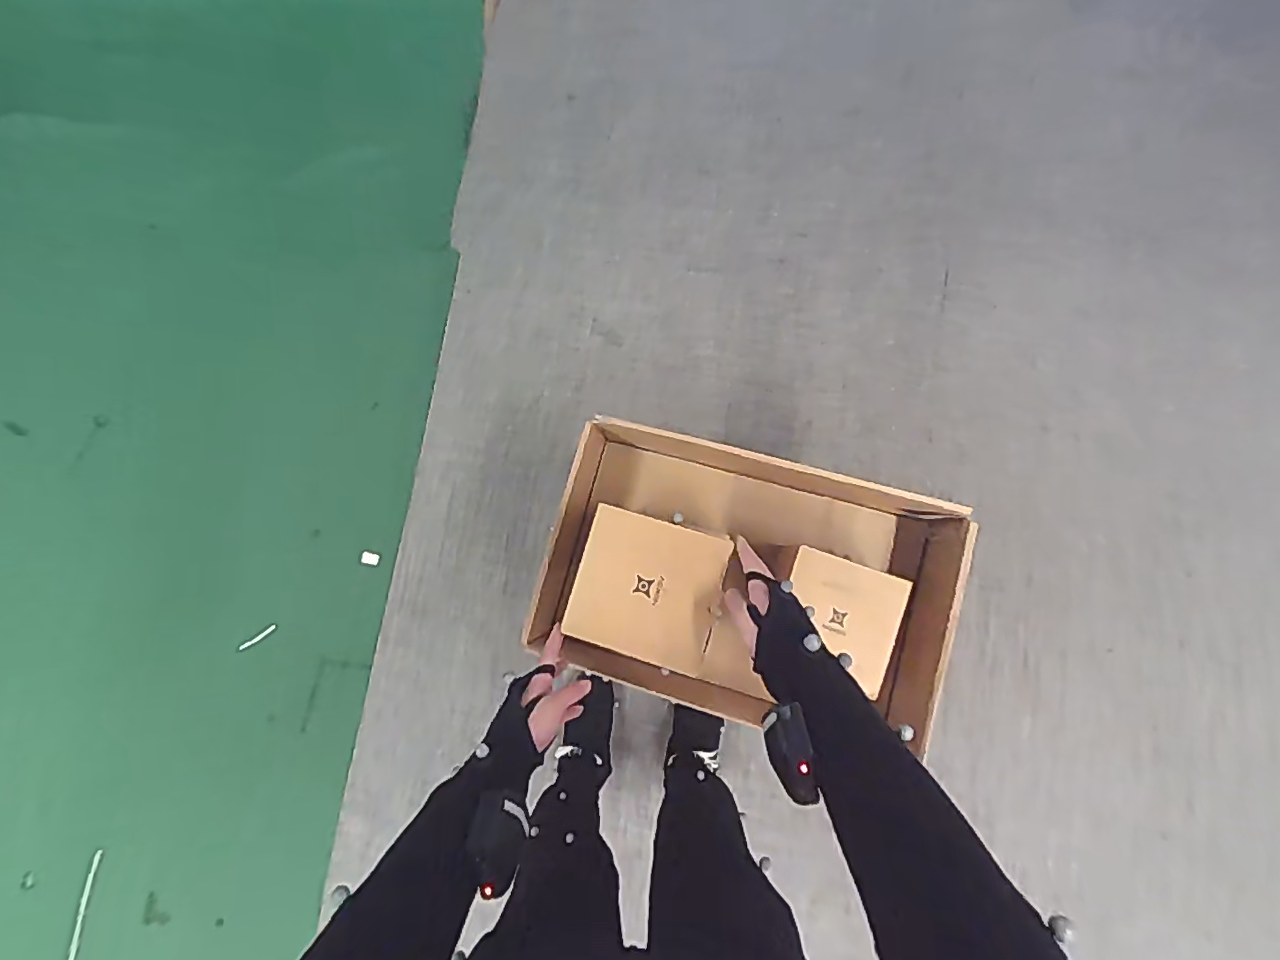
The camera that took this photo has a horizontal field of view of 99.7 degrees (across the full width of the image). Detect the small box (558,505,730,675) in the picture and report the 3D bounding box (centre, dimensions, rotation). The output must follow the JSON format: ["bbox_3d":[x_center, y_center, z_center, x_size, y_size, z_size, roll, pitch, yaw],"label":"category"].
[{"bbox_3d":[0.013,0.142,0.732,0.179,0.176,0.168,15,85,8],"label":"small box"}]
